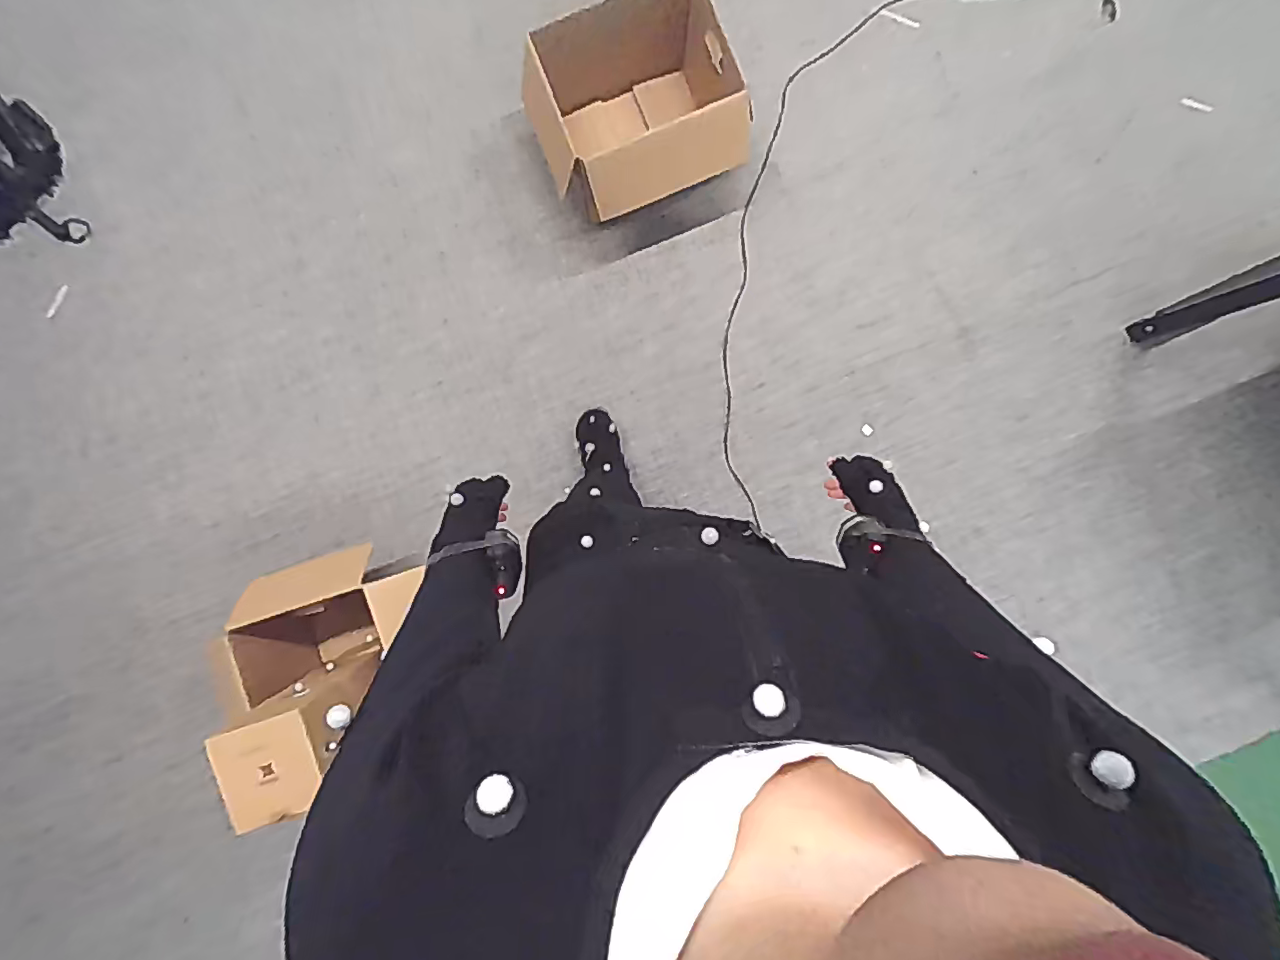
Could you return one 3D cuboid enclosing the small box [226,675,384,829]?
[{"bbox_3d":[-0.614,0.499,1.016,0.168,0.176,0.179,-19,91,-3],"label":"small box"}]
